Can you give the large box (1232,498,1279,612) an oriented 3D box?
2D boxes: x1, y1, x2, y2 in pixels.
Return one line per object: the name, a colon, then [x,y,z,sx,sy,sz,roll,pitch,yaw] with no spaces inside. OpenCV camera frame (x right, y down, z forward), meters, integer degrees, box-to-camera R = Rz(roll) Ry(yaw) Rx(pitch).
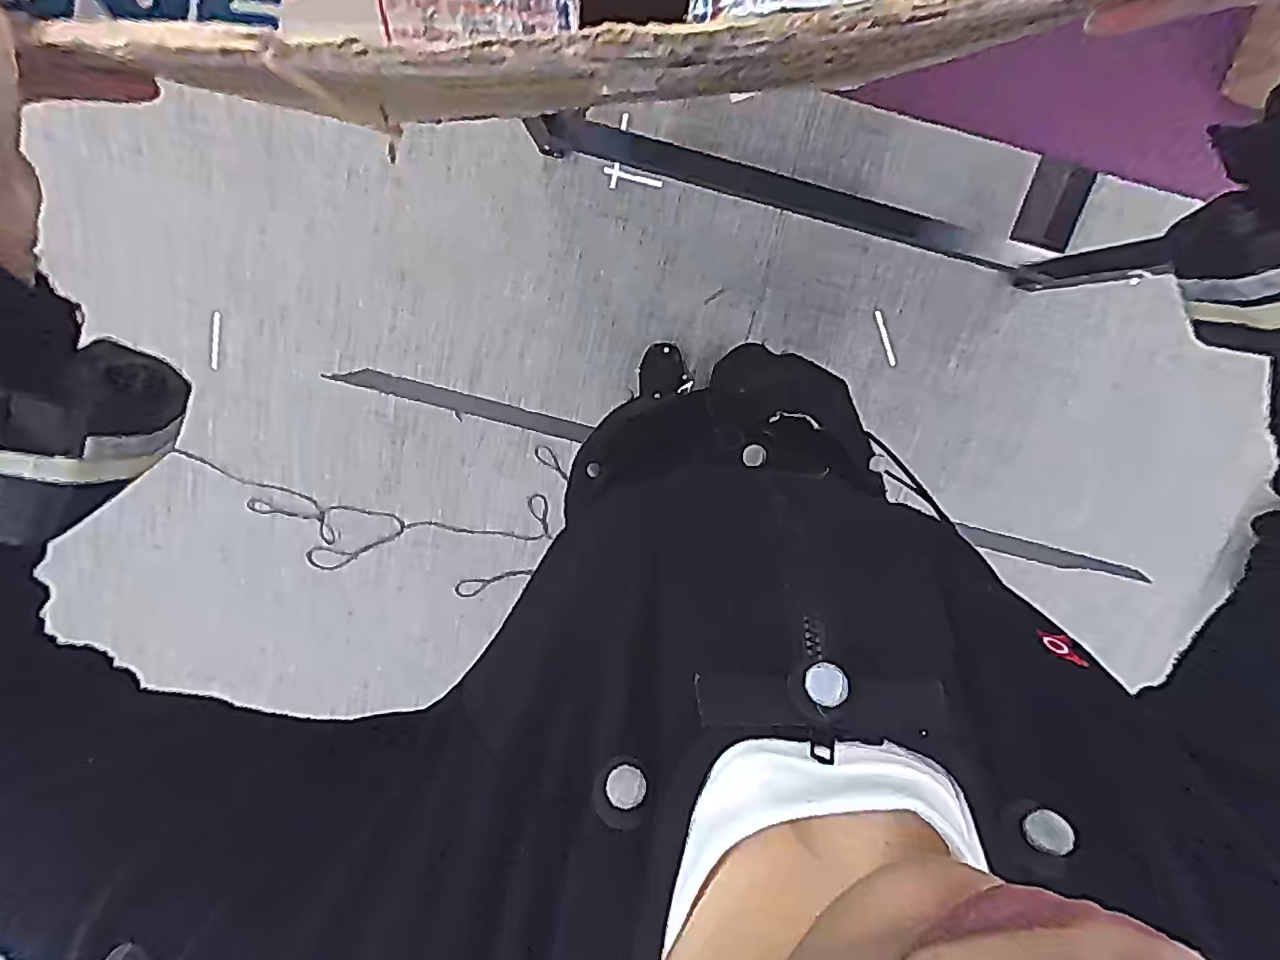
large box: [1.803,0.234,1.273,0.408,0.320,0.320,13,104,-2]
